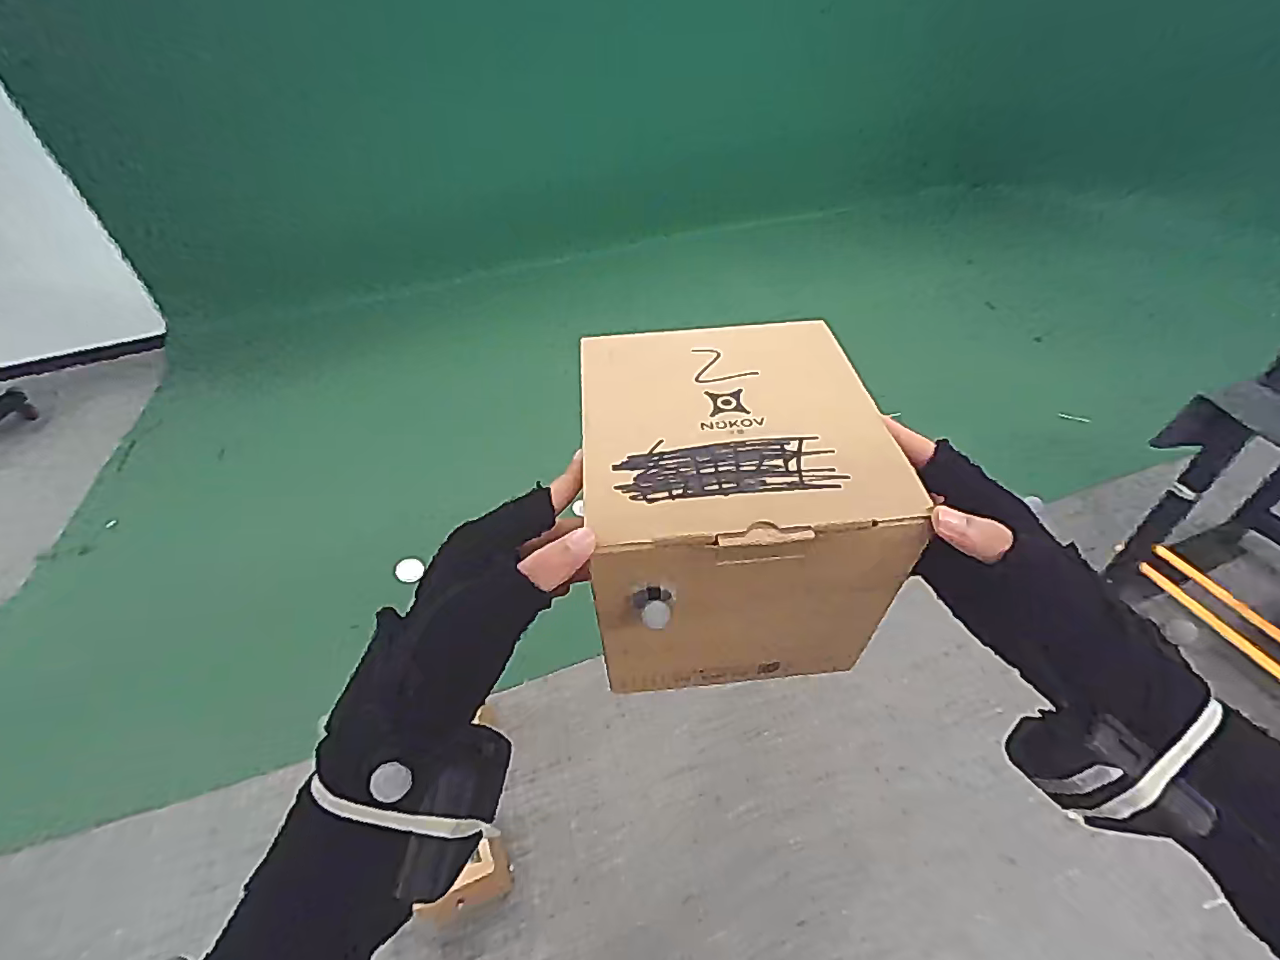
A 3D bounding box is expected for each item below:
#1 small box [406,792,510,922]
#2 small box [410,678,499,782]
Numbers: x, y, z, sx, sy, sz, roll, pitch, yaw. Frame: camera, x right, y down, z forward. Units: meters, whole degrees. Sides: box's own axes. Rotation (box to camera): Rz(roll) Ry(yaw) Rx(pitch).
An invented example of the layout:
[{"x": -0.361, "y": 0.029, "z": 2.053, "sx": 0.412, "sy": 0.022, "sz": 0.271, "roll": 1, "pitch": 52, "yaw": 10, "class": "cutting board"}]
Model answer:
[{"x": -0.399, "y": 0.840, "z": 1.206, "sx": 0.179, "sy": 0.176, "sz": 0.168, "roll": -19, "pitch": 43, "yaw": -13, "class": "small box"}, {"x": -0.486, "y": 0.659, "z": 1.419, "sx": 0.179, "sy": 0.176, "sz": 0.168, "roll": -16, "pitch": 43, "yaw": -11, "class": "small box"}]
